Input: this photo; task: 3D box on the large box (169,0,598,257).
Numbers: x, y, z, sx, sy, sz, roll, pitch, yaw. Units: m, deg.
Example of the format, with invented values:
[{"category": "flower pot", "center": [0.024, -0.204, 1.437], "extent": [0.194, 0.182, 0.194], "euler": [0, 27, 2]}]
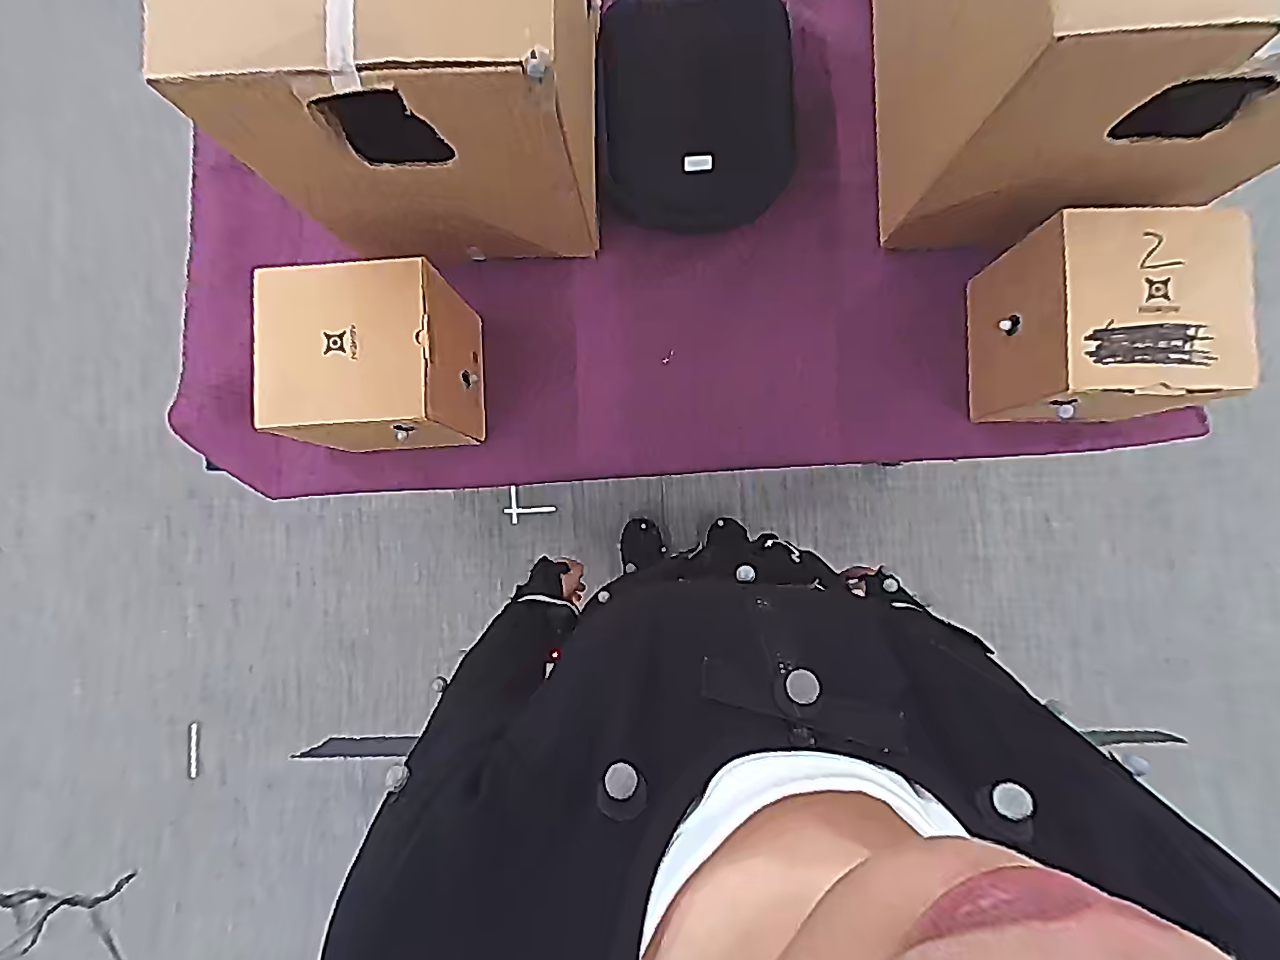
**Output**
[{"category": "large box", "center": [-0.215, -0.496, 0.566], "extent": [0.320, 0.320, 0.408], "euler": [-1, 90, 3]}]

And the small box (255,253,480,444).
[{"category": "small box", "center": [-0.298, -0.137, 0.621], "extent": [0.179, 0.176, 0.168], "euler": [-4, 86, 2]}]
